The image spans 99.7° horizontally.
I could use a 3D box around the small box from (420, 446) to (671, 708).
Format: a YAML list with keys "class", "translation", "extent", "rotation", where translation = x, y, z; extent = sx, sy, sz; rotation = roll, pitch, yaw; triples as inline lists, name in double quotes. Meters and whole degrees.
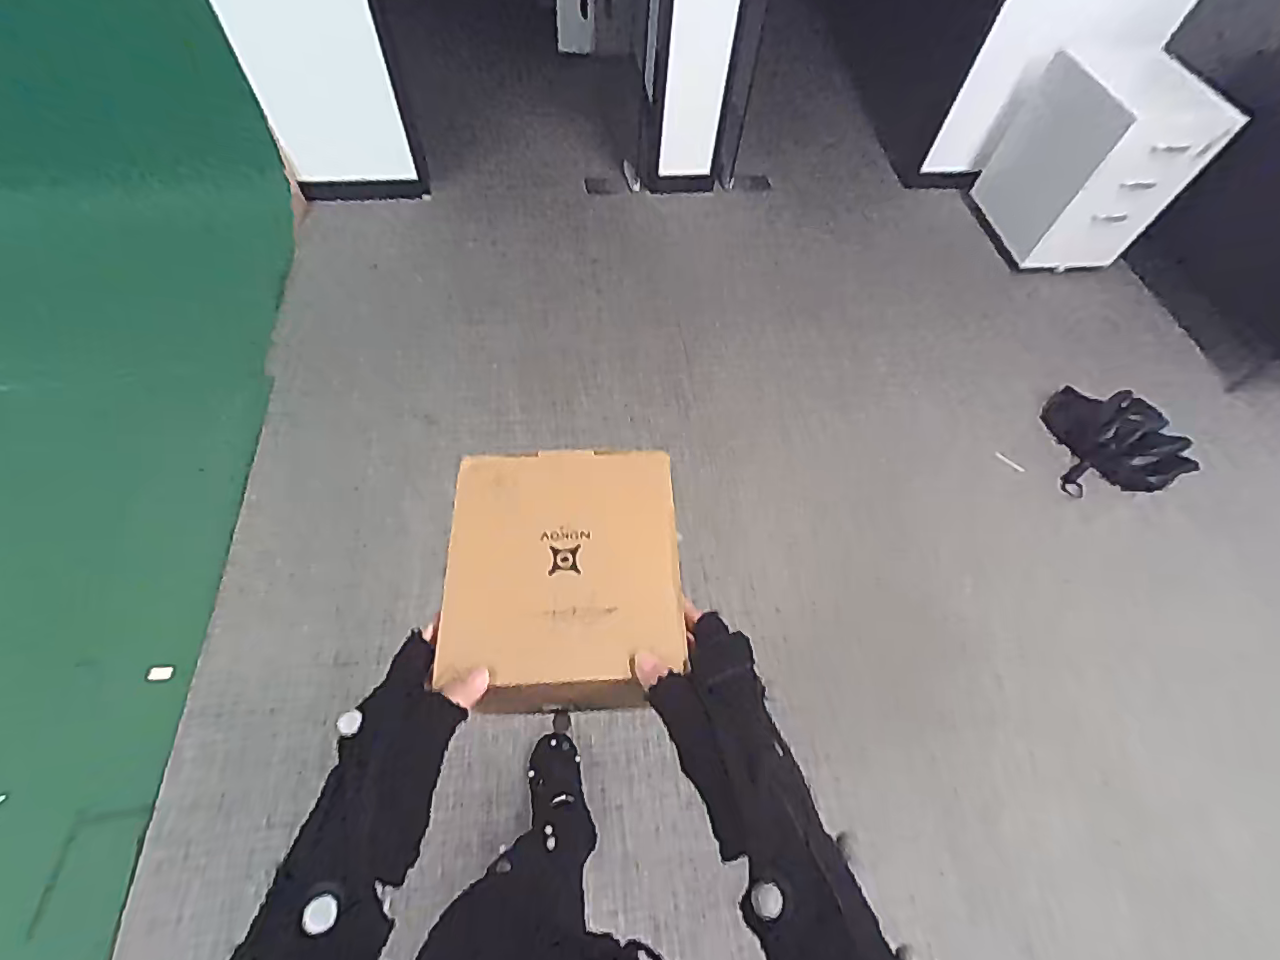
- class: "small box"
  translation: [-0.066, 0.088, 0.460]
  extent: [0.168, 0.176, 0.179]
  rotation: [-1, 61, -2]
